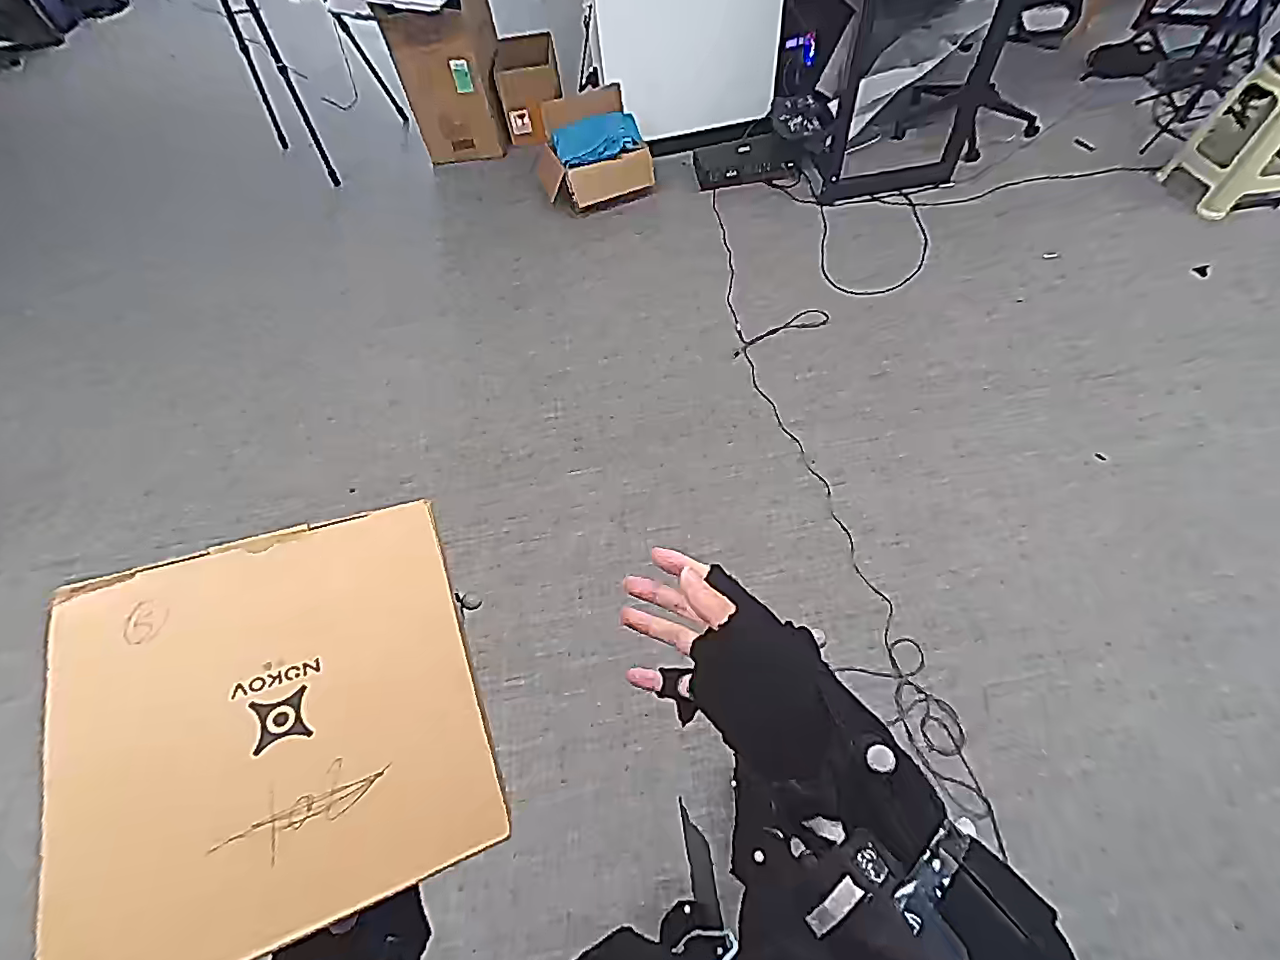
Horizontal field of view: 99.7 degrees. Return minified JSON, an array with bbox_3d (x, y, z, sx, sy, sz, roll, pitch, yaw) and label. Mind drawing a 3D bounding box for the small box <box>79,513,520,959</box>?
[{"bbox_3d":[-0.178,0.147,0.327,0.168,0.176,0.179,-14,67,-20],"label":"small box"}]
